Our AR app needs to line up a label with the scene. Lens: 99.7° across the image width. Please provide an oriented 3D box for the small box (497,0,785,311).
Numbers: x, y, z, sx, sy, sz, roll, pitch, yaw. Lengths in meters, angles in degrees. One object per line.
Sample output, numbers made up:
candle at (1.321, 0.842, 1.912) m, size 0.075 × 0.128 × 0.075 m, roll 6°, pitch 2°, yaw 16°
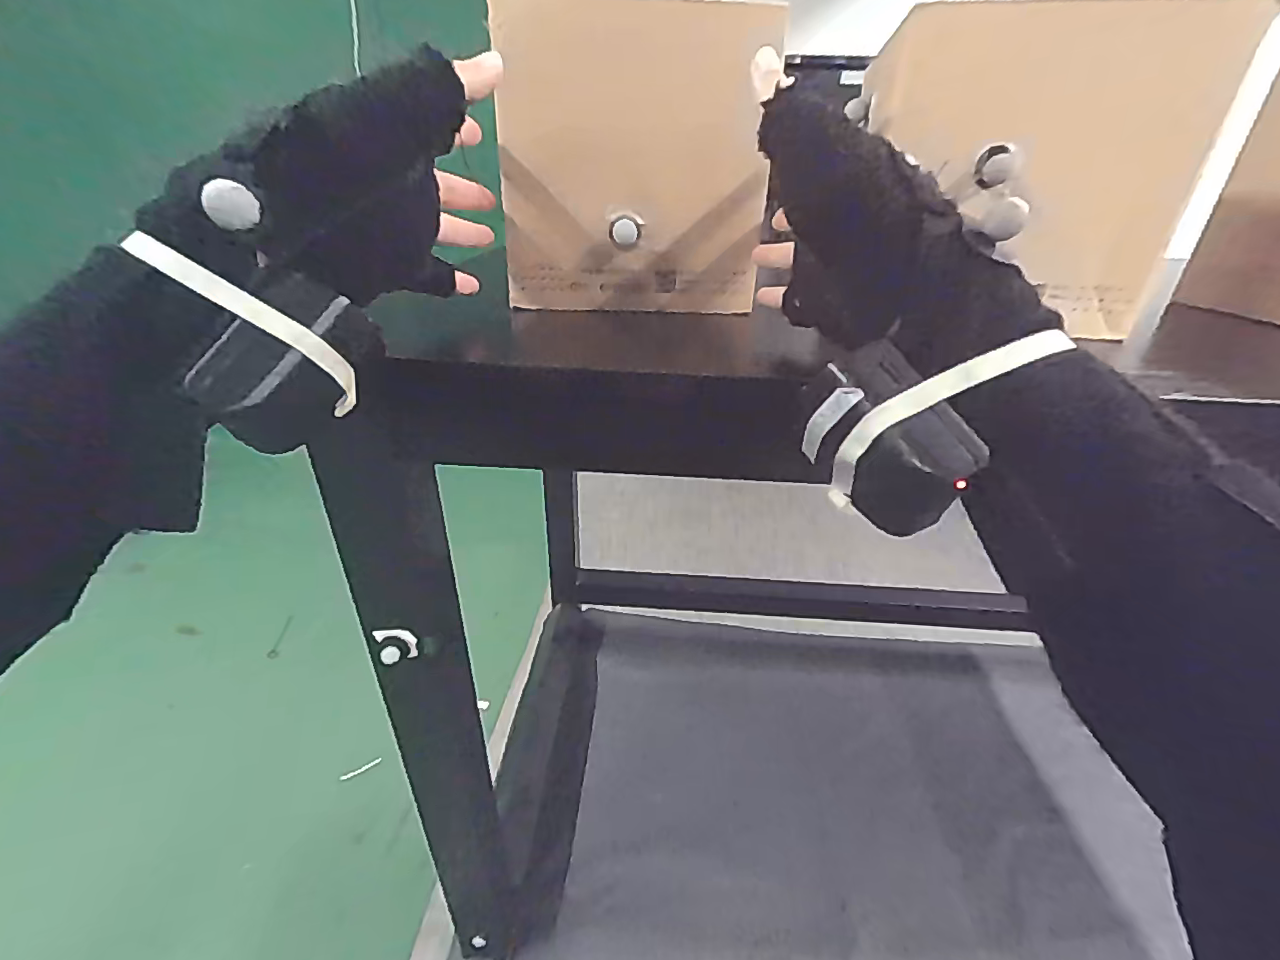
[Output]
small box at (-0.005, -0.233, 0.410) m, size 0.168 × 0.176 × 0.179 m, roll 0°, pitch 28°, yaw -3°

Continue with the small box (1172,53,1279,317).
small box at (0.528, -0.190, 0.355) m, size 0.168 × 0.176 × 0.179 m, roll 0°, pitch 28°, yaw -1°
